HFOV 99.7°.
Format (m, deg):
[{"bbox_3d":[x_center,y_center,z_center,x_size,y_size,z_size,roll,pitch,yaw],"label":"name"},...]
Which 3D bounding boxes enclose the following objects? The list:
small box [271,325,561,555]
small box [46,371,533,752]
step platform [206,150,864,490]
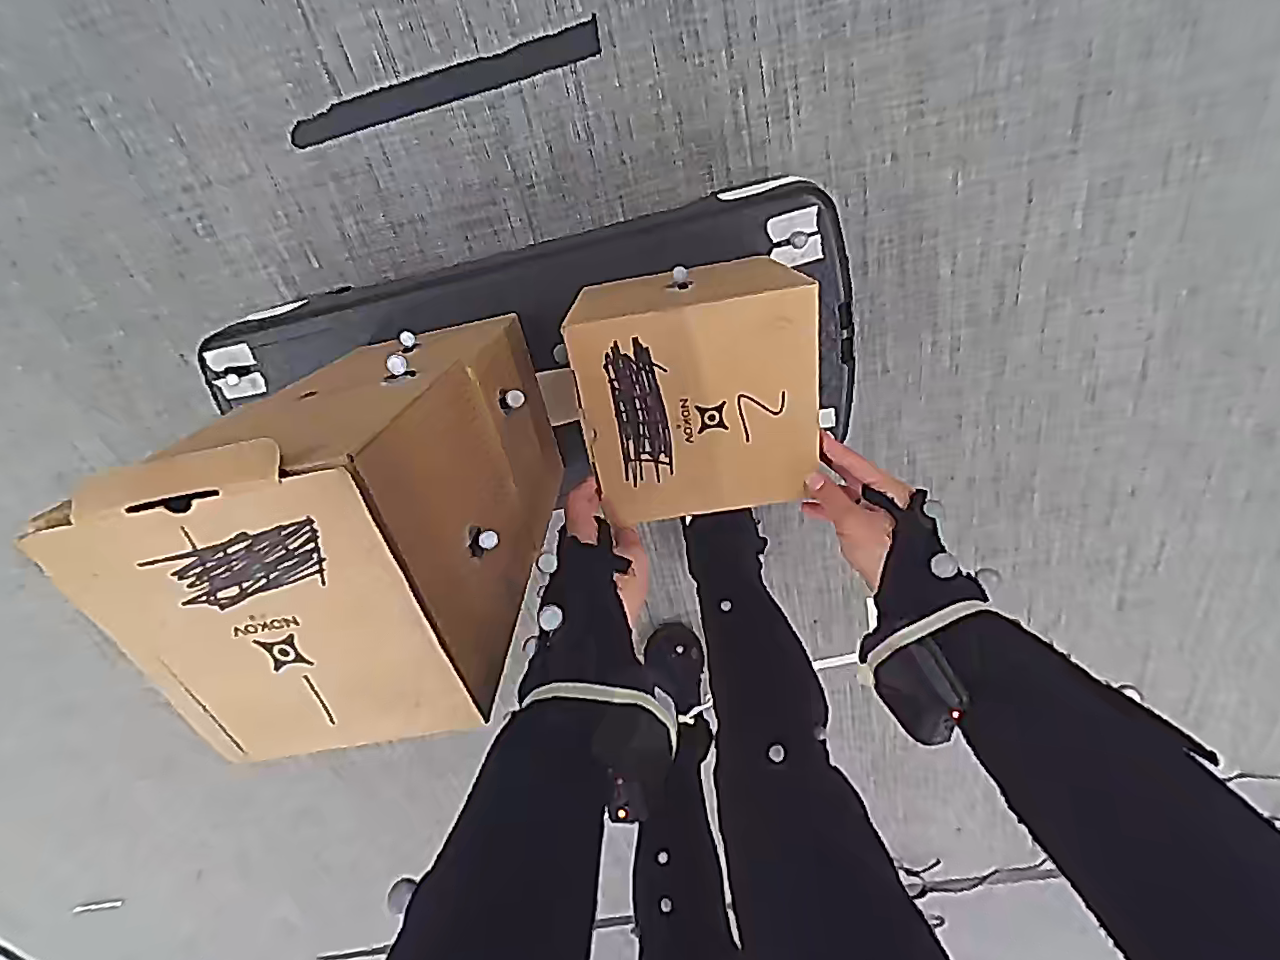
[{"bbox_3d":[-0.180,-0.036,0.500,0.168,0.176,0.179,-10,118,5],"label":"small box"},{"bbox_3d":[-0.182,0.039,0.352,0.168,0.176,0.179,-10,118,6],"label":"small box"},{"bbox_3d":[-0.103,-0.148,0.637,0.684,0.204,0.286,-11,117,6],"label":"step platform"}]
